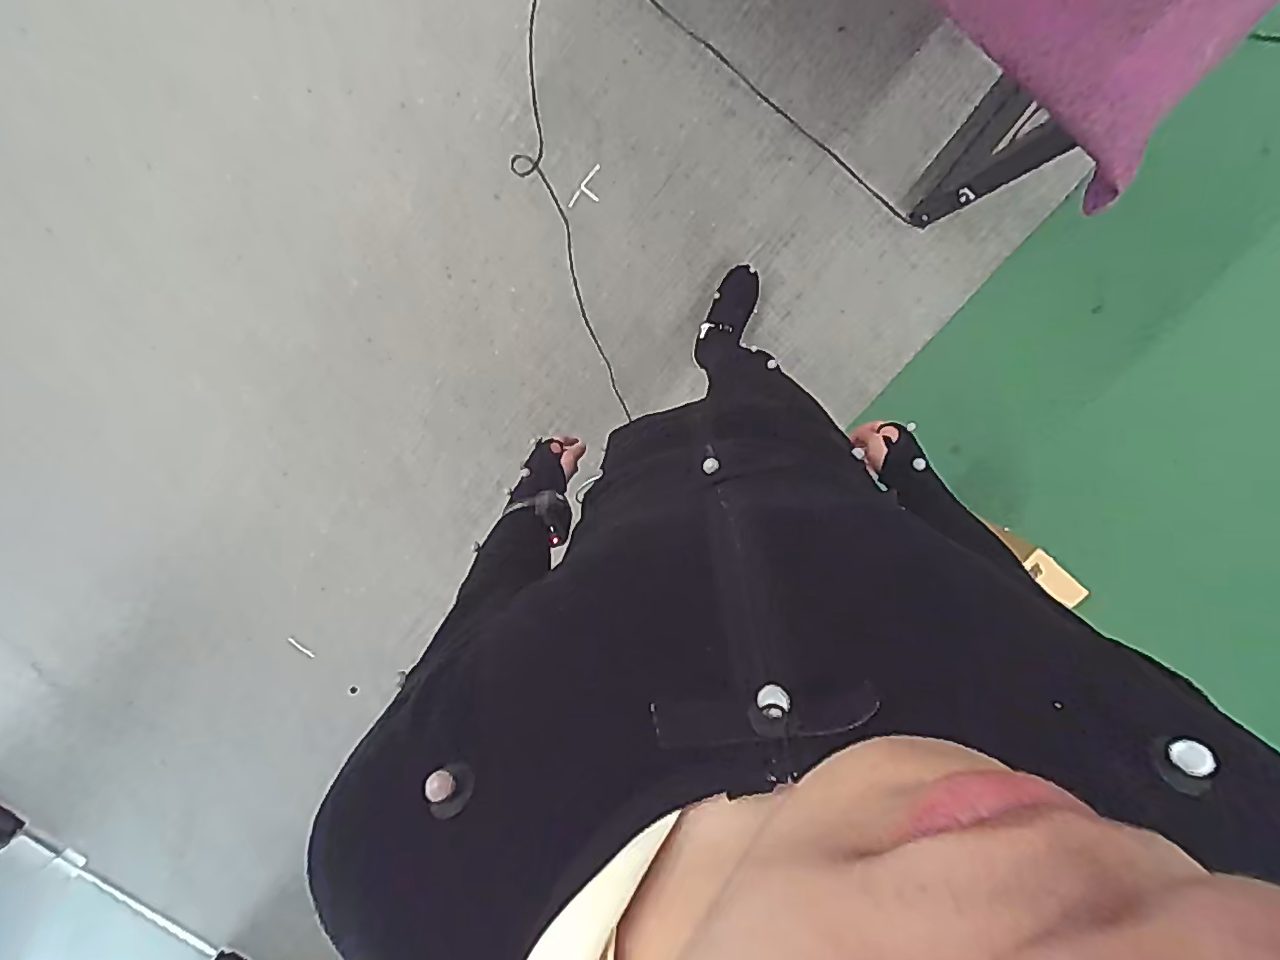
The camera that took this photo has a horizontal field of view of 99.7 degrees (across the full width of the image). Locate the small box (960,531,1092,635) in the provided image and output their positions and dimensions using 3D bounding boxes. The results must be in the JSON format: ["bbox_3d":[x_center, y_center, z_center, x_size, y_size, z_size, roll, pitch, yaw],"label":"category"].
[{"bbox_3d":[0.967,0.251,1.374,0.179,0.176,0.168,39,103,-7],"label":"small box"}]
